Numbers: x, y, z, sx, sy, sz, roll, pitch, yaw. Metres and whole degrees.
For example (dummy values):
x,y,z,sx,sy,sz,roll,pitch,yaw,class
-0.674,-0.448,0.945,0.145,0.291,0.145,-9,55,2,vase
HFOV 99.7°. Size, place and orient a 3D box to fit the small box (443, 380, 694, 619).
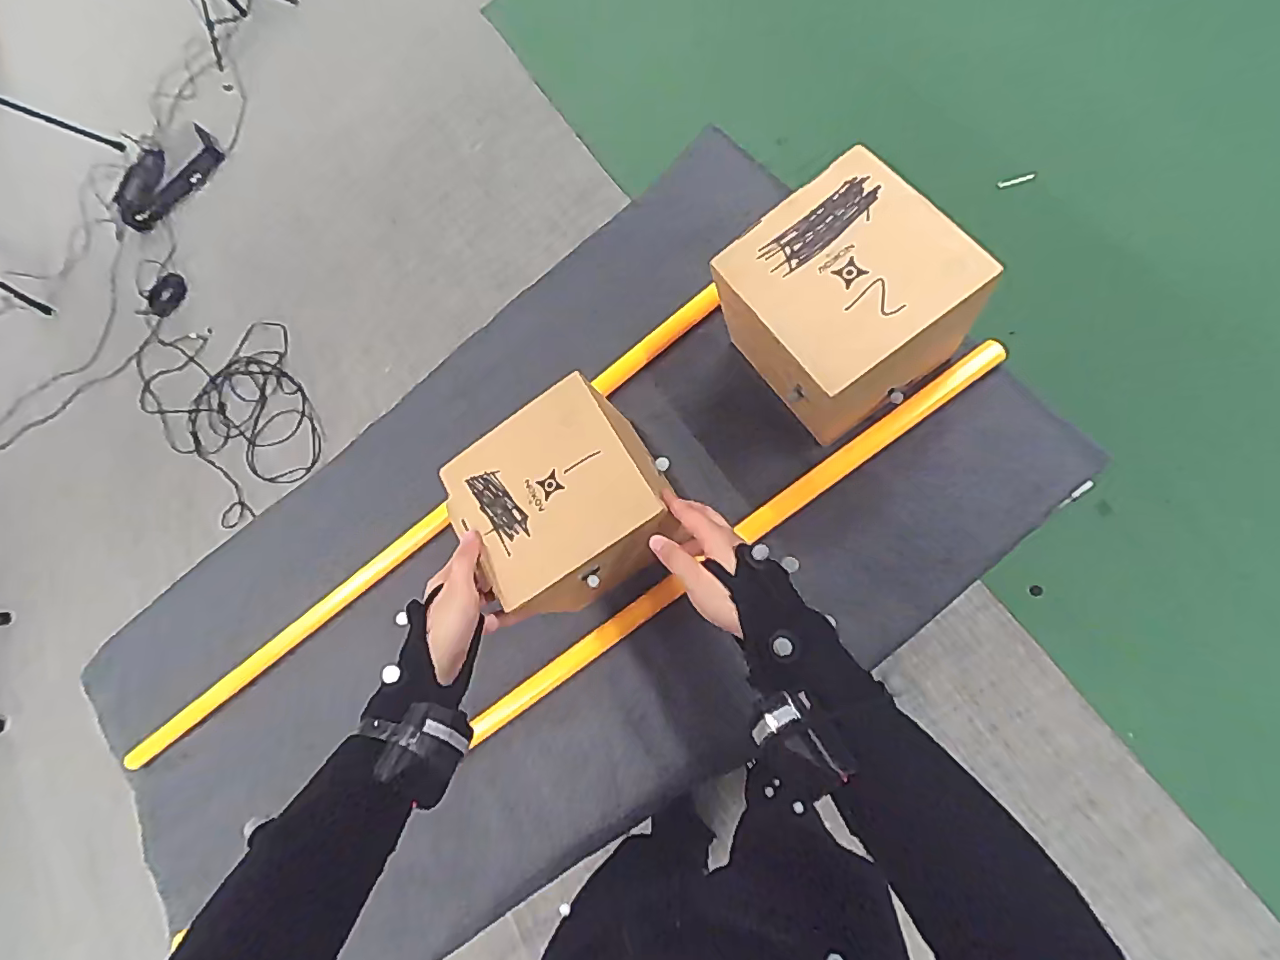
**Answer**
x,y,z,sx,sy,sz,roll,pitch,yaw,class
-0.065,0.032,0.575,0.179,0.176,0.168,-34,71,7,small box
